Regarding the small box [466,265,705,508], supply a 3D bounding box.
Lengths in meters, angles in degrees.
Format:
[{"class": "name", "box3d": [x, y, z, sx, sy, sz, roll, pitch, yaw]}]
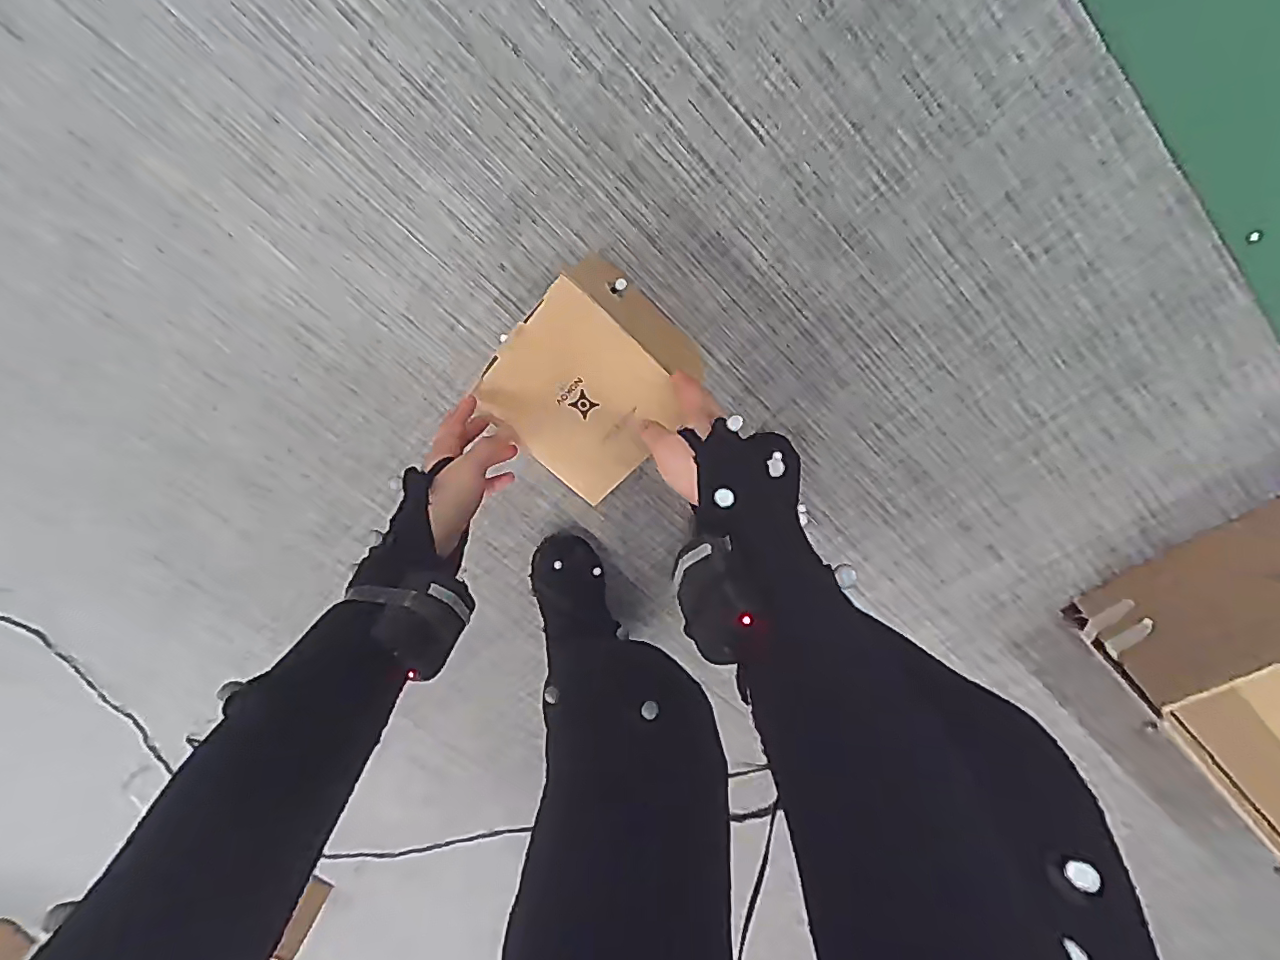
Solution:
[{"class": "small box", "box3d": [-0.047, -0.109, 0.586, 0.179, 0.176, 0.168, 39, 117, -15]}]
